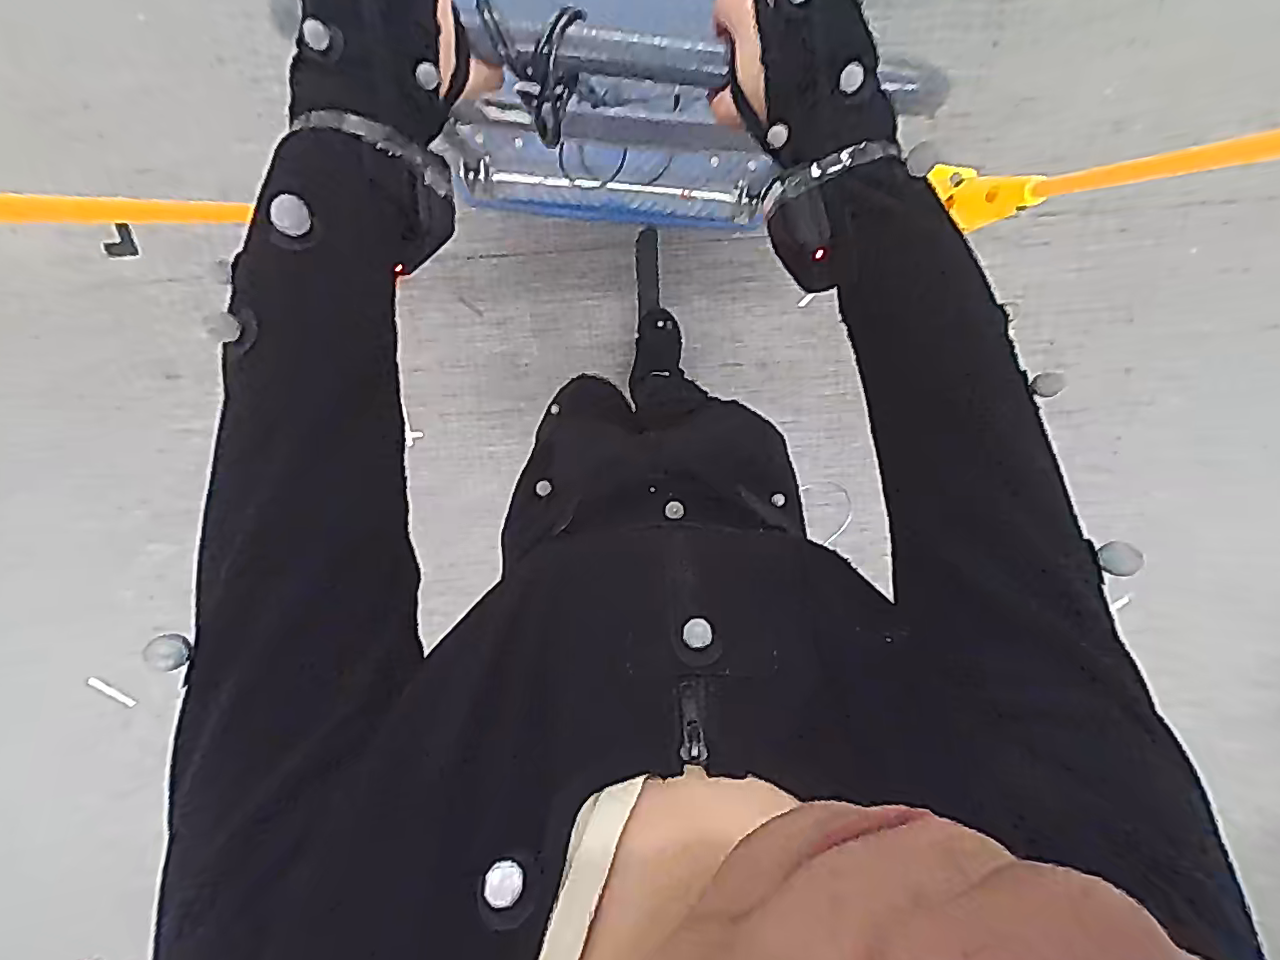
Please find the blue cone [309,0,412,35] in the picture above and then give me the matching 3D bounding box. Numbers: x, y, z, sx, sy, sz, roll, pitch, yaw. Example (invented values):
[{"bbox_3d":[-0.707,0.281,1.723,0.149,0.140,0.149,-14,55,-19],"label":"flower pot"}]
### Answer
[{"bbox_3d":[-0.508,-0.885,0.837,0.193,0.380,0.192,10,111,-6],"label":"blue cone"}]
